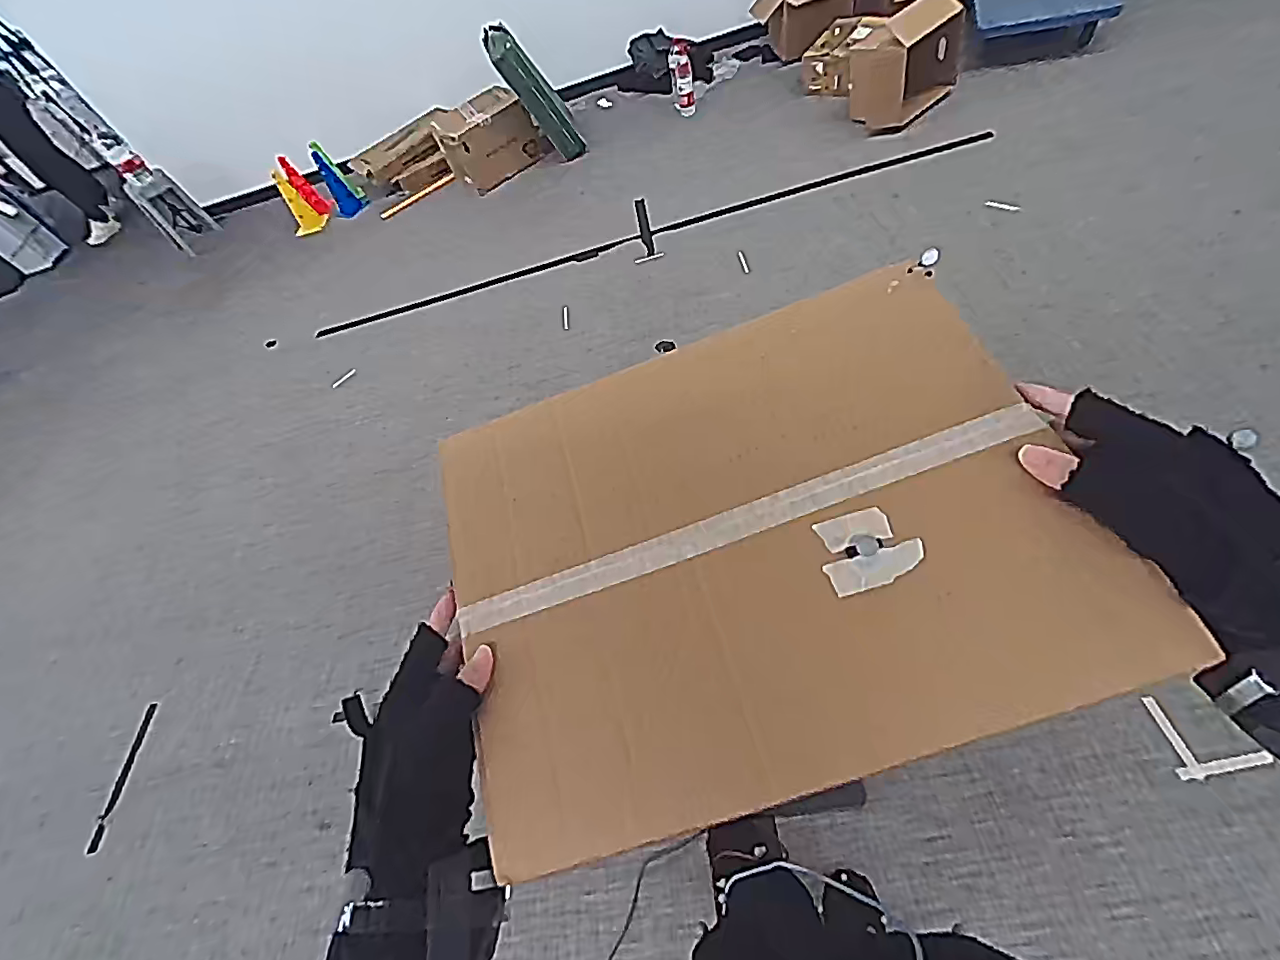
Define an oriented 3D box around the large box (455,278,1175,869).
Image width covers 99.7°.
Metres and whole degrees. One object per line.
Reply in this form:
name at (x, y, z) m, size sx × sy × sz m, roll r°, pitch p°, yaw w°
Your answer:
large box at (0.100, 0.096, 0.507) m, size 0.408 × 0.320 × 0.320 m, roll -20°, pitch 63°, yaw 4°
